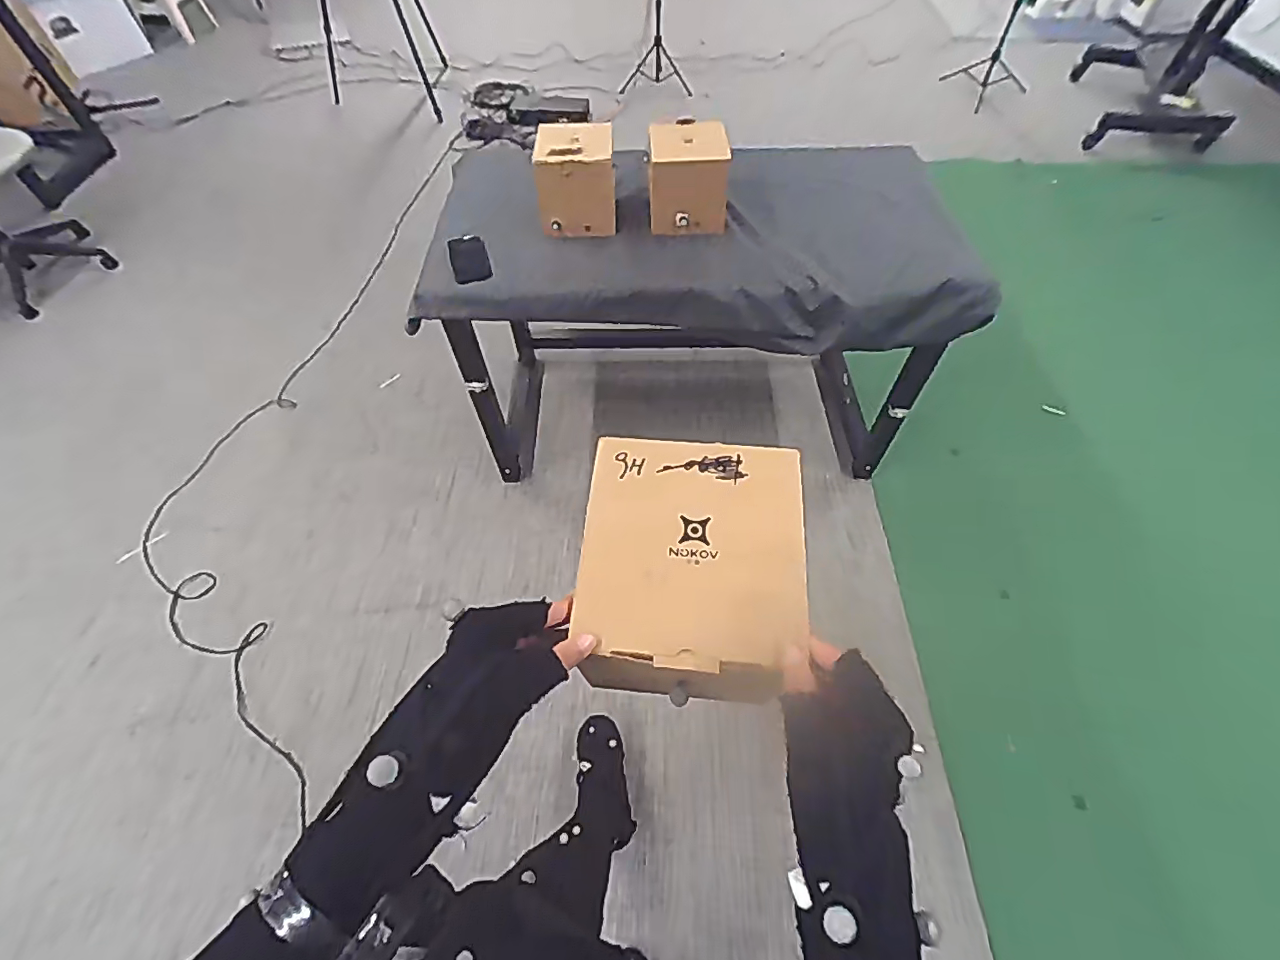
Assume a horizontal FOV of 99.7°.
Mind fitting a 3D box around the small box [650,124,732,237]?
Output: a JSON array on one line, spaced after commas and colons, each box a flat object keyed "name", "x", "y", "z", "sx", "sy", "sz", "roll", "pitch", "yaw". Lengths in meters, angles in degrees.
[{"name": "small box", "x": 0.108, "y": -0.675, "z": 1.224, "sx": 0.168, "sy": 0.176, "sz": 0.179, "roll": -2, "pitch": 57, "yaw": 0}]

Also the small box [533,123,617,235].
[{"name": "small box", "x": -0.138, "y": -0.674, "z": 1.219, "sx": 0.168, "sy": 0.176, "sz": 0.179, "roll": 0, "pitch": 55, "yaw": 0}]

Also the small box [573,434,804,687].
[{"name": "small box", "x": 0.044, "y": 0.080, "z": 0.483, "sx": 0.168, "sy": 0.176, "sz": 0.179, "roll": 4, "pitch": 63, "yaw": 3}]
